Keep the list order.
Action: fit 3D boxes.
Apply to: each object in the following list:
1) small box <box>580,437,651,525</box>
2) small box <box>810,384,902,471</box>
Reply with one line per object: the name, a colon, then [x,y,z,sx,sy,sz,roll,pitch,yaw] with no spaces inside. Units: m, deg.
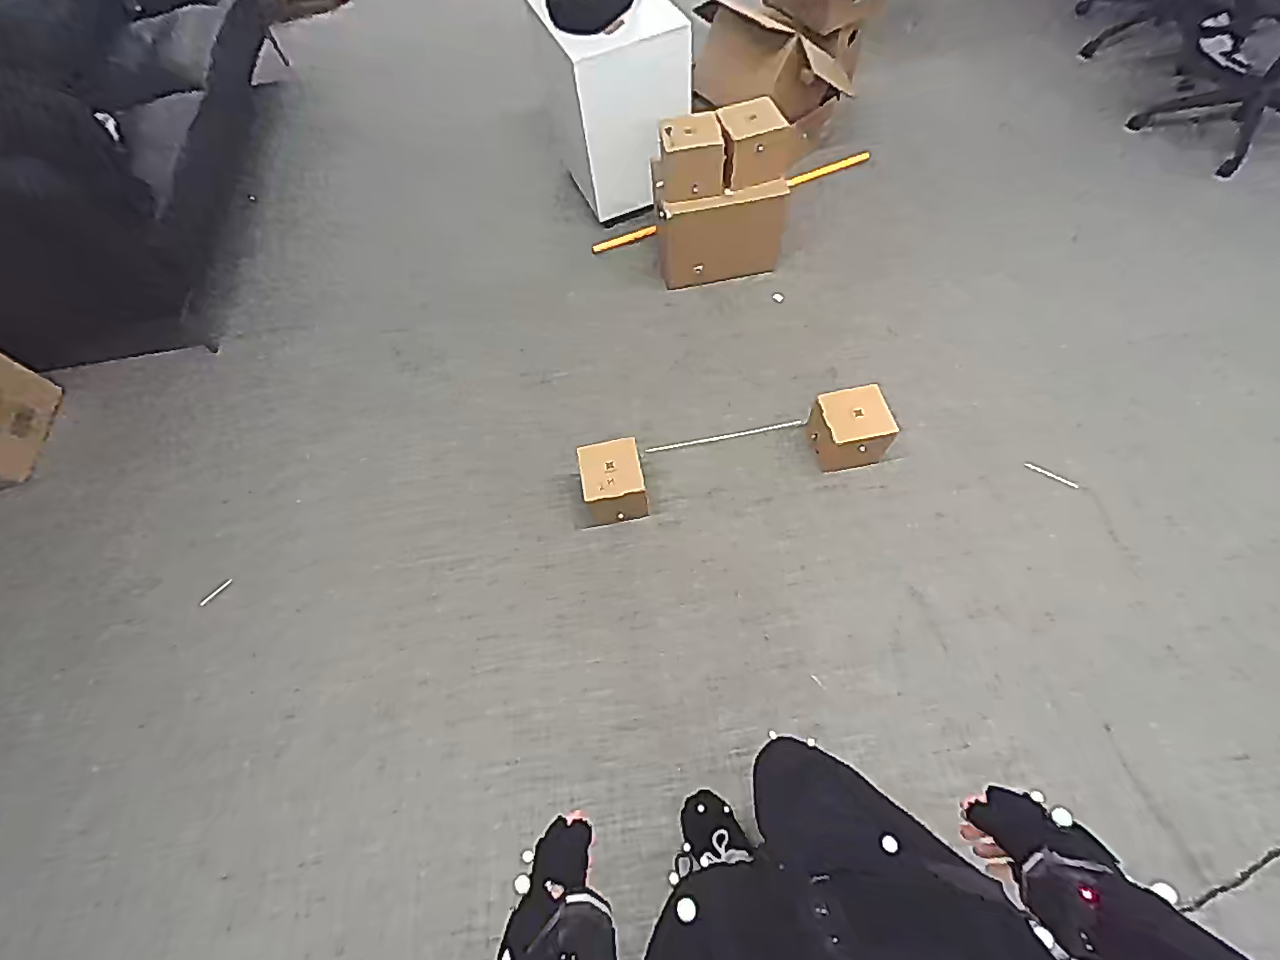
small box: [-0.067,0.007,1.522,0.168,0.176,0.179,-12,62,0]
small box: [0.602,-0.143,1.531,0.179,0.176,0.168,-12,63,0]
